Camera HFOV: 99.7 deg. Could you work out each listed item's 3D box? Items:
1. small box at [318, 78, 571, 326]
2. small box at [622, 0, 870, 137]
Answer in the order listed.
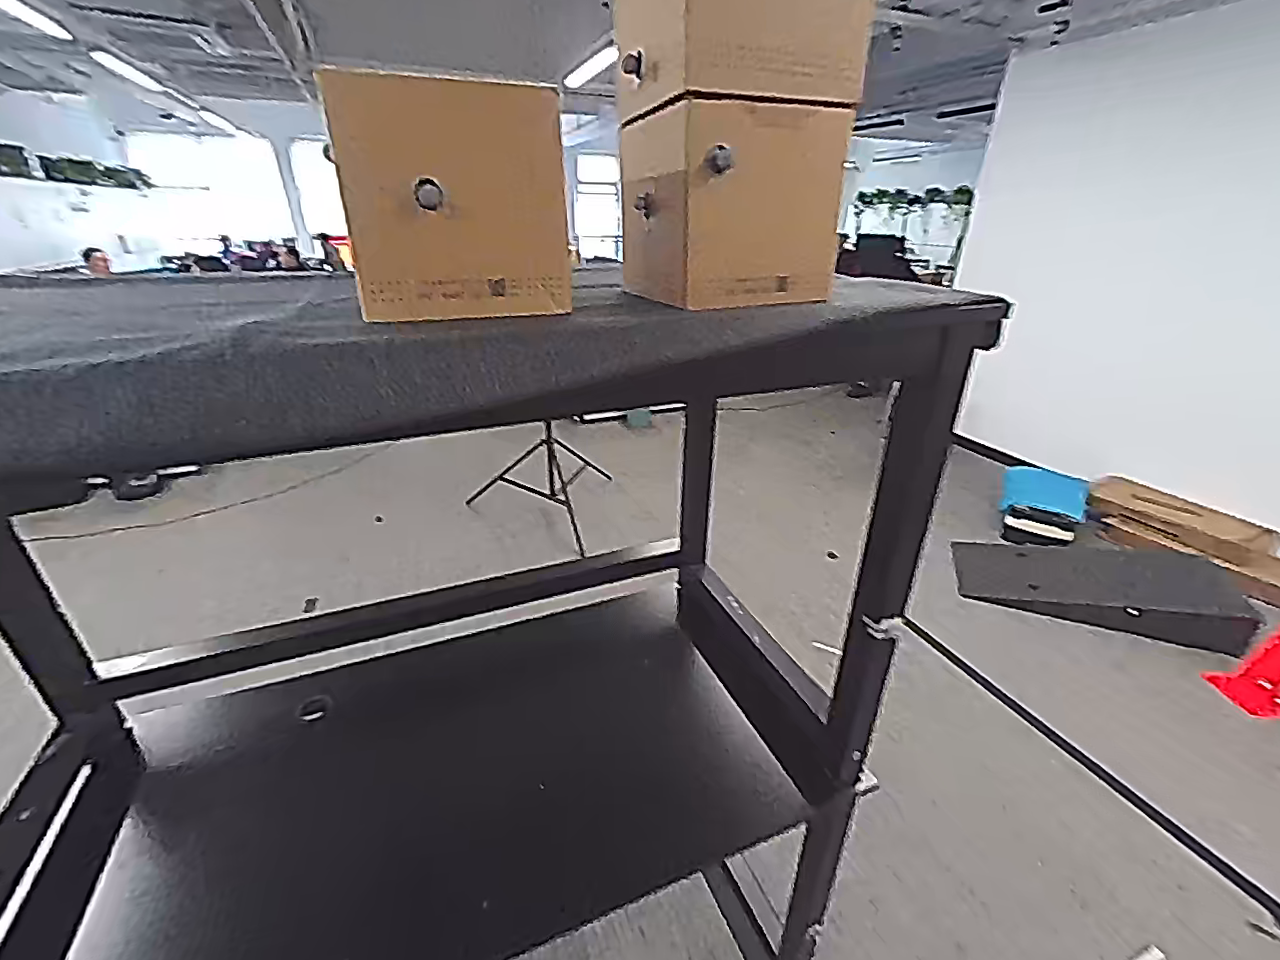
[{"bbox_3d":[-0.162,-0.234,0.484,0.168,0.176,0.179,-9,26,-17],"label":"small box"},{"bbox_3d":[0.086,-0.416,0.482,0.179,0.176,0.168,-11,25,-19],"label":"small box"}]
